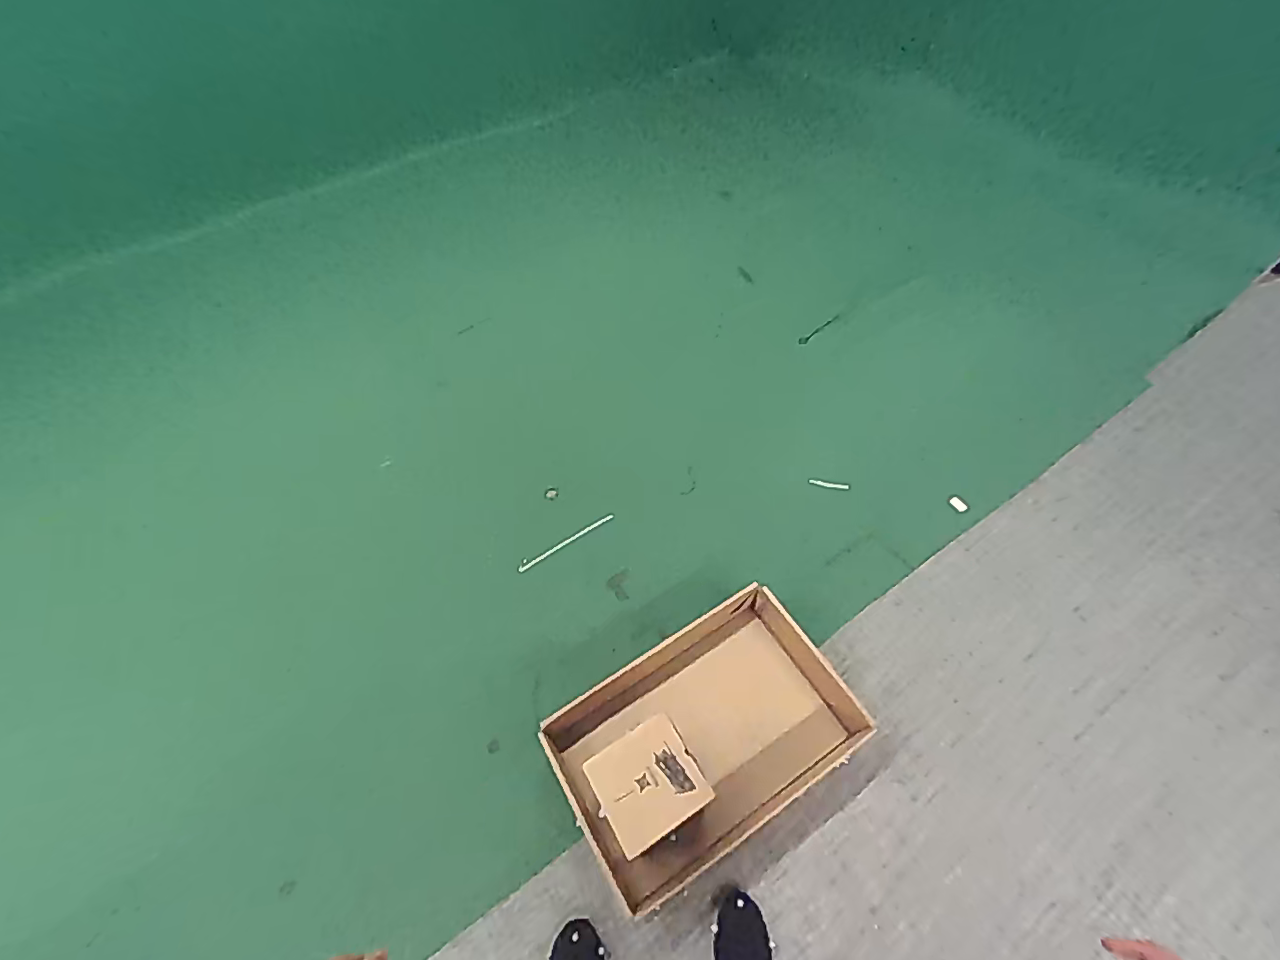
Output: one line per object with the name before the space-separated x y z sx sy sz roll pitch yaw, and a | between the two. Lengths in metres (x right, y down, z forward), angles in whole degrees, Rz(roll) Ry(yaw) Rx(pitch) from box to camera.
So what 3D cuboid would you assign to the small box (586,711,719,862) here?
small box | 0.021 0.553 0.982 0.179 0.176 0.168 -28 60 -15
